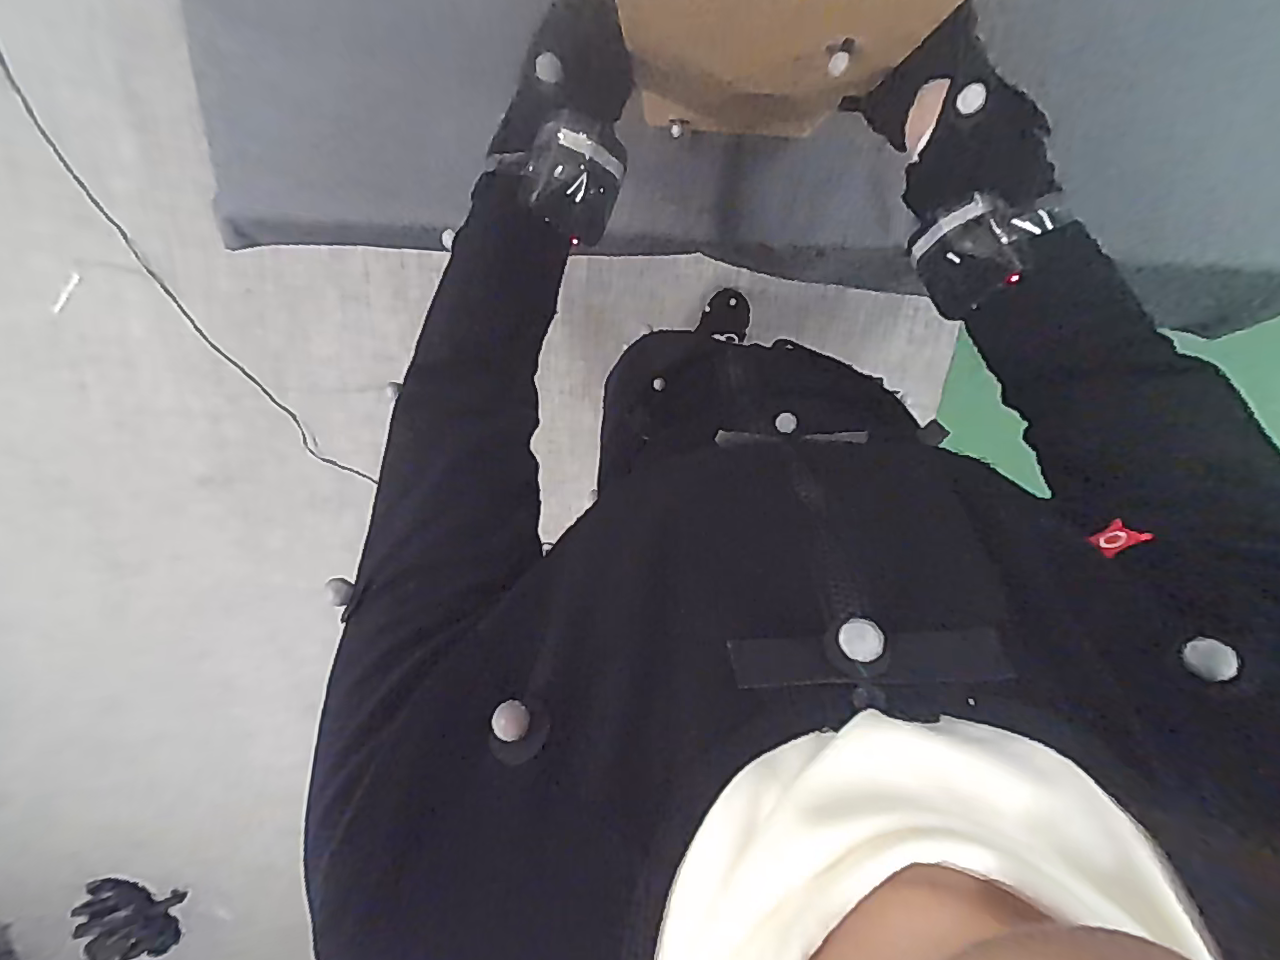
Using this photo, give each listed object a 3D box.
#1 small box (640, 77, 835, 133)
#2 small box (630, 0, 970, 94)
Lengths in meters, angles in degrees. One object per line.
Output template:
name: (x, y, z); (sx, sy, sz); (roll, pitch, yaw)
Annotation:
small box: (0.092, -0.413, 0.452); (0.168, 0.176, 0.179); (5, 109, 2)
small box: (0.082, -0.333, 0.293); (0.179, 0.176, 0.168); (-1, 109, 3)
